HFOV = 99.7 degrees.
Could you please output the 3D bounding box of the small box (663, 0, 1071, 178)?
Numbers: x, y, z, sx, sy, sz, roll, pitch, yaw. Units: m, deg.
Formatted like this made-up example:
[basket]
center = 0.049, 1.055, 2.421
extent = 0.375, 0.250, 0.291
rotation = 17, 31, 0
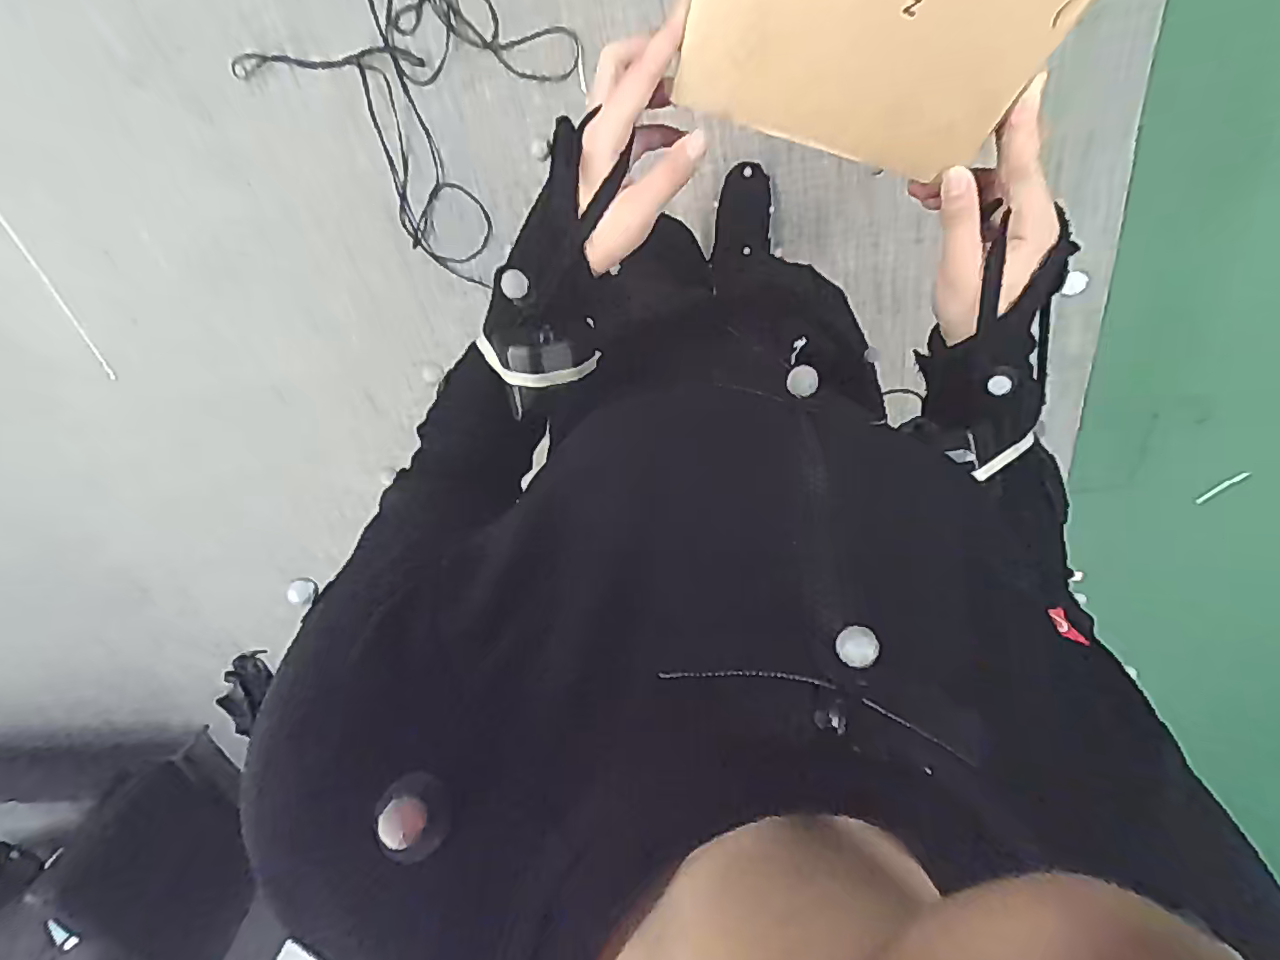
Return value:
[small box]
center = 0.123, -0.302, 0.284
extent = 0.179, 0.176, 0.168
rotation = 13, 146, -5
